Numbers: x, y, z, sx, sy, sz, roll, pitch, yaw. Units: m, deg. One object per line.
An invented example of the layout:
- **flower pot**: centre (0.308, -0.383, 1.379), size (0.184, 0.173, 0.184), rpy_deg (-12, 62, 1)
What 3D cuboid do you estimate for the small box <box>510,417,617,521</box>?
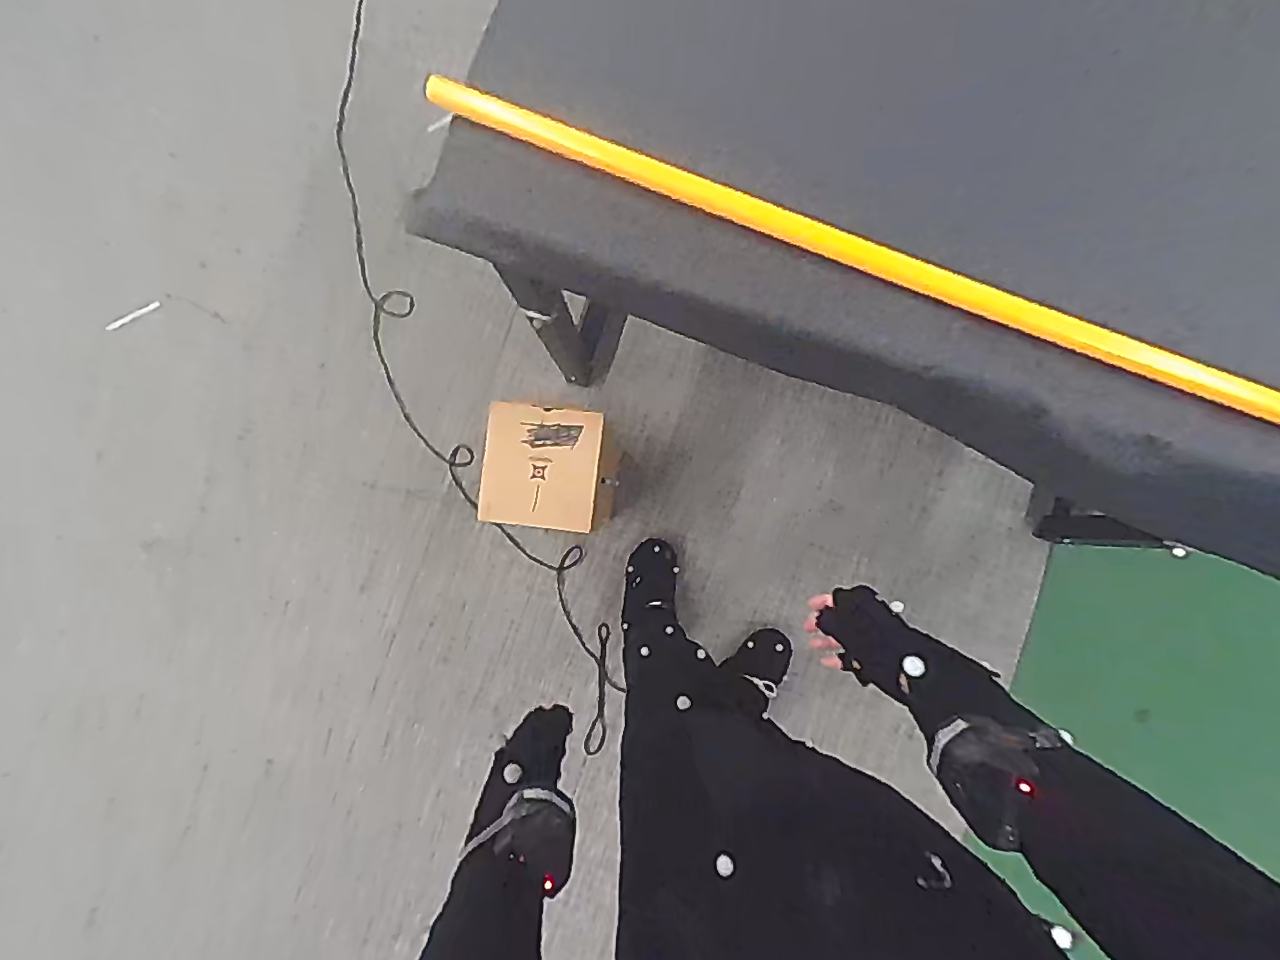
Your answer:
- **small box**: centre (-0.135, -0.015, 1.017), size (0.168, 0.176, 0.179), rpy_deg (3, 86, 4)
